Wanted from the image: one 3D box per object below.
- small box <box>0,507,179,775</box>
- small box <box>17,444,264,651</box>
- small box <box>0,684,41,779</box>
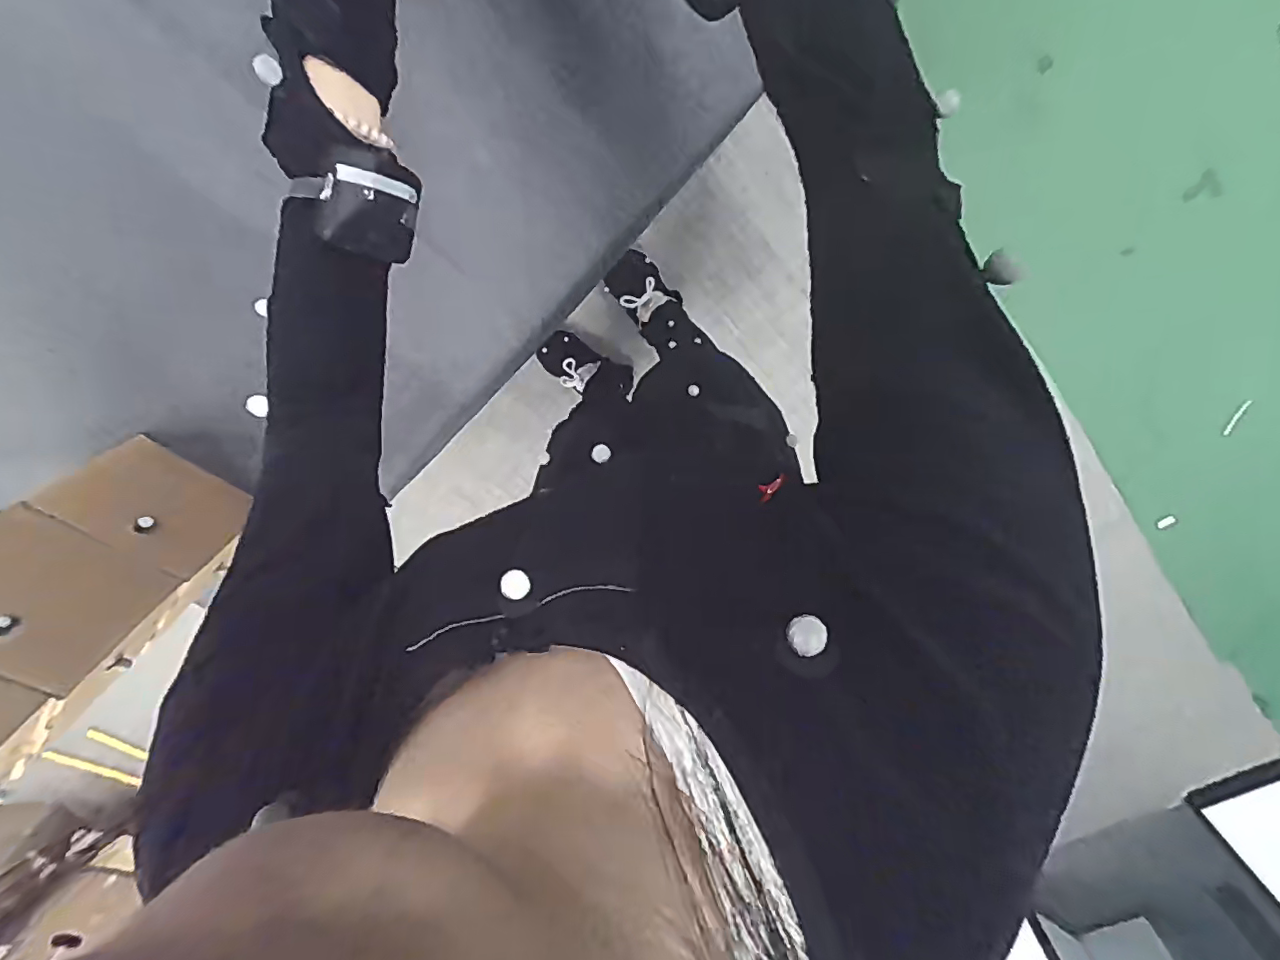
[{"bbox_3d":[-0.641,0.160,0.557,0.179,0.176,0.168,38,112,-22],"label":"small box"},{"bbox_3d":[-0.644,0.077,0.697,0.179,0.176,0.168,38,113,-22],"label":"small box"},{"bbox_3d":[-0.642,0.241,0.414,0.179,0.176,0.168,37,113,-21],"label":"small box"}]
